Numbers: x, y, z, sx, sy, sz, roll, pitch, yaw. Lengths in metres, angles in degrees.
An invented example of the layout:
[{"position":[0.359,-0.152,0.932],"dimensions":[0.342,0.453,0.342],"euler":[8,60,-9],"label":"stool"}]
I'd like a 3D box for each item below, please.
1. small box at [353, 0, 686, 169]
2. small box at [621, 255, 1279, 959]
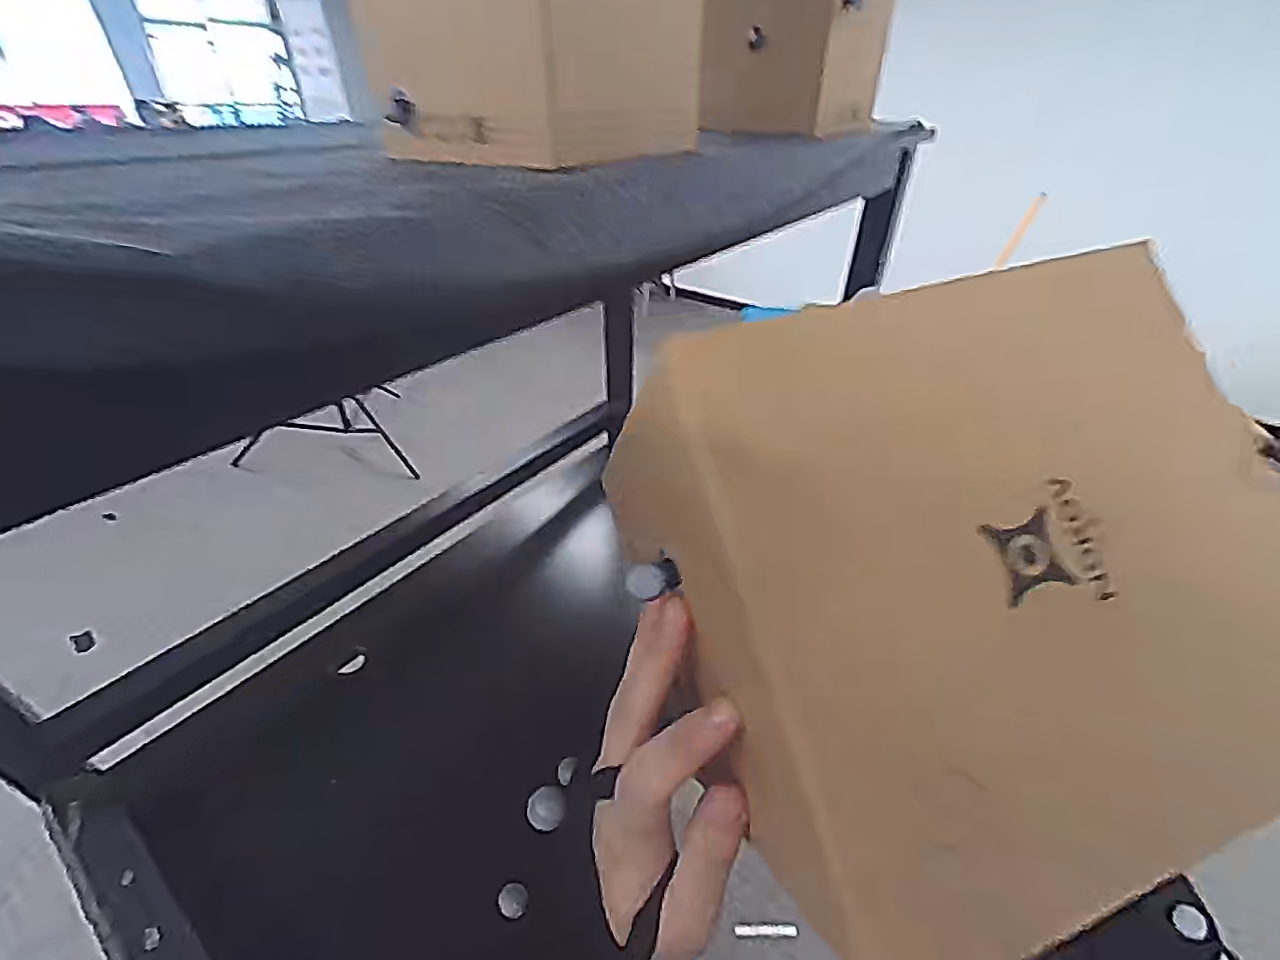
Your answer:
[{"position":[-0.074,-0.317,0.369],"dimensions":[0.168,0.176,0.179],"euler":[20,40,27],"label":"small box"},{"position":[0.096,0.037,0.234],"dimensions":[0.179,0.176,0.168],"euler":[-16,81,-12],"label":"small box"}]
